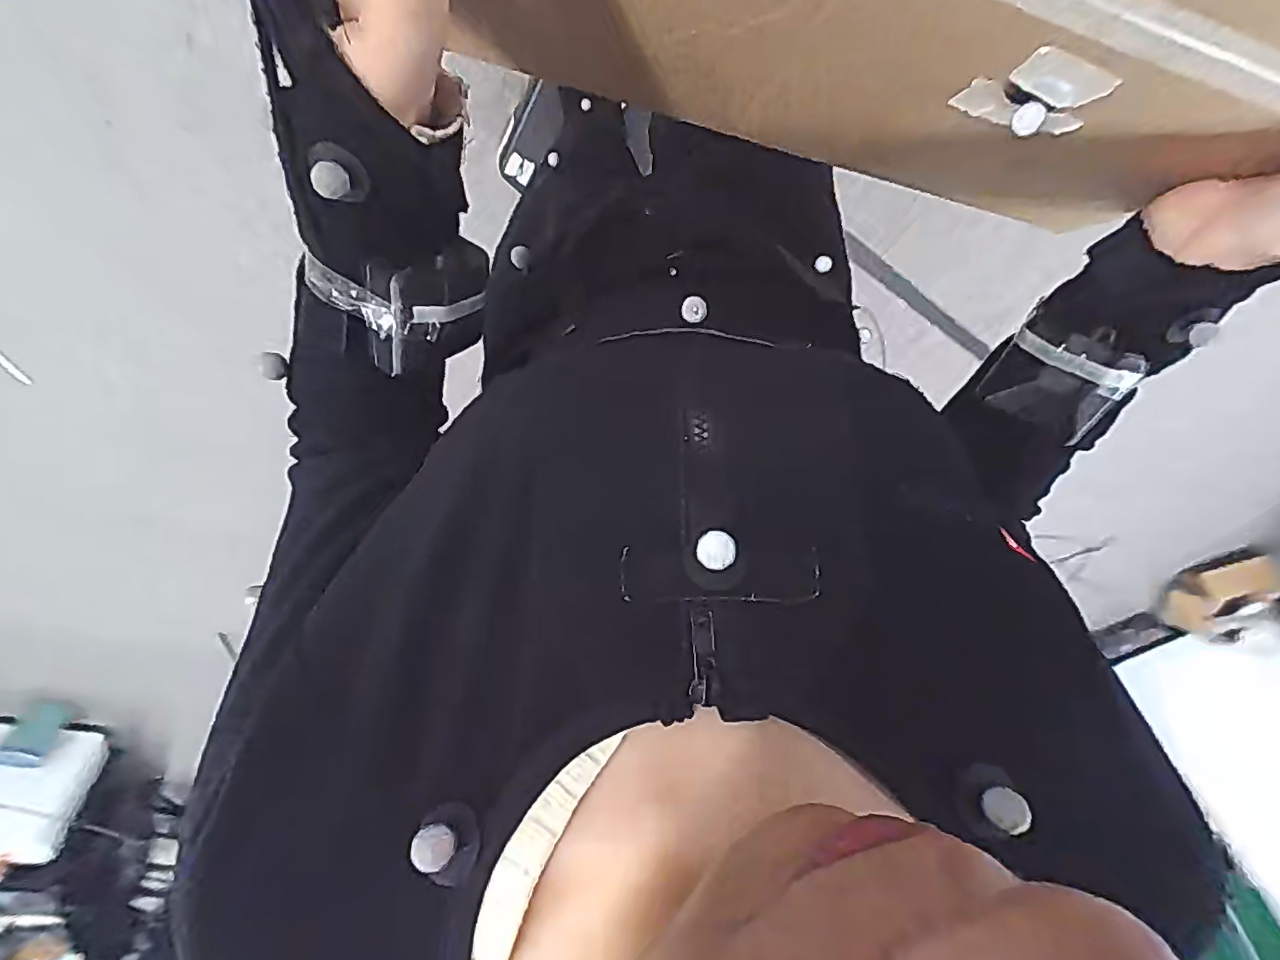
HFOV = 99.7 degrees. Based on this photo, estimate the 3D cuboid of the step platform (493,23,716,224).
[{"bbox_3d":[0.003,-0.843,1.003,0.286,0.204,0.684,27,126,-30],"label":"step platform"}]
